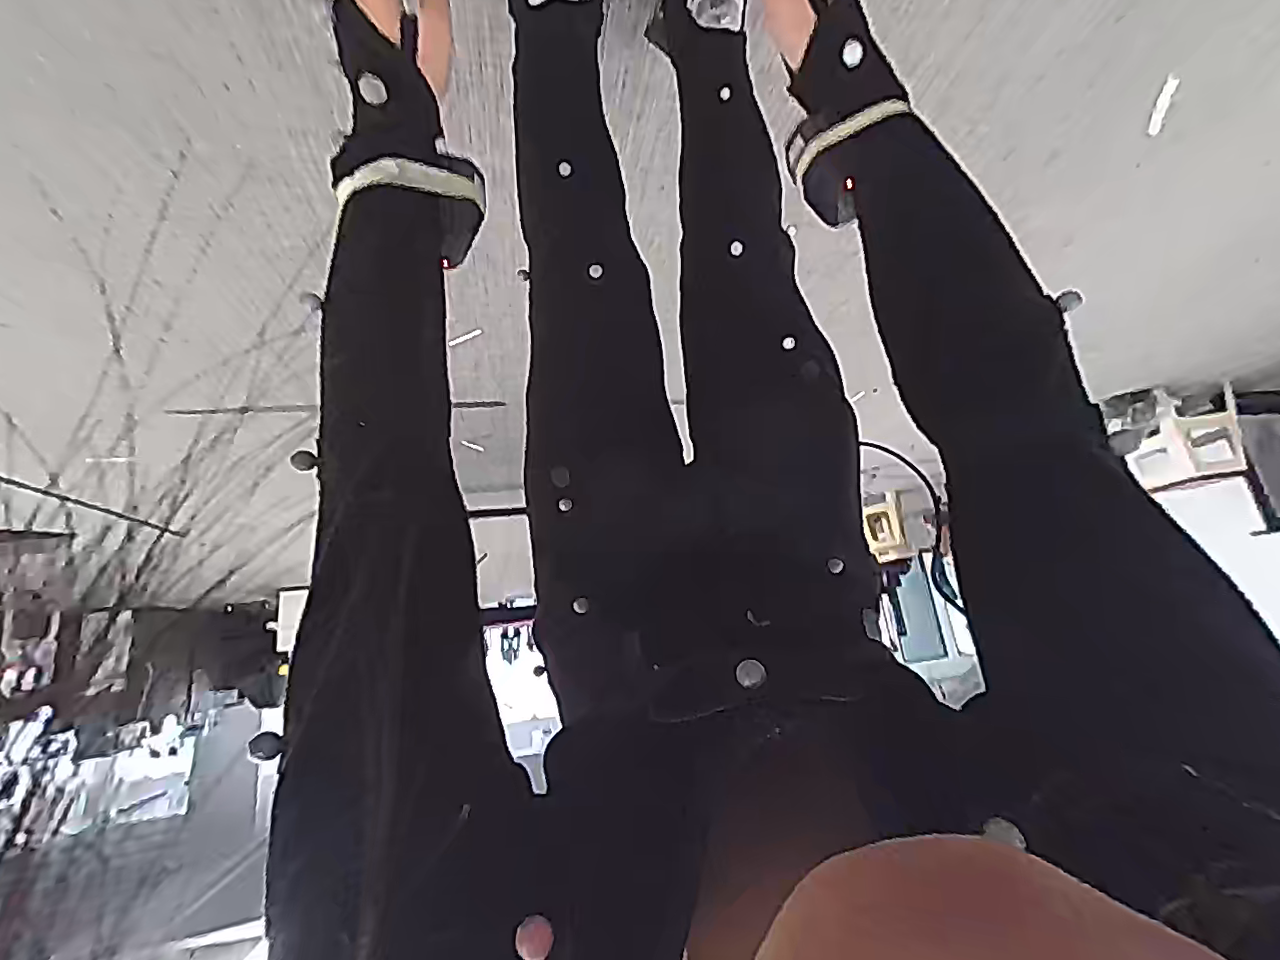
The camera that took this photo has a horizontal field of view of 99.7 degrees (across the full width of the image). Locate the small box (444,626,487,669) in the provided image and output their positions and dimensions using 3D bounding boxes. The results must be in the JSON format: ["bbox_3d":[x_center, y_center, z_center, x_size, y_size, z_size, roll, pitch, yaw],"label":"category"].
[{"bbox_3d":[-0.807,0.774,2.505,0.179,0.176,0.168,-4,165,-12],"label":"small box"}]
